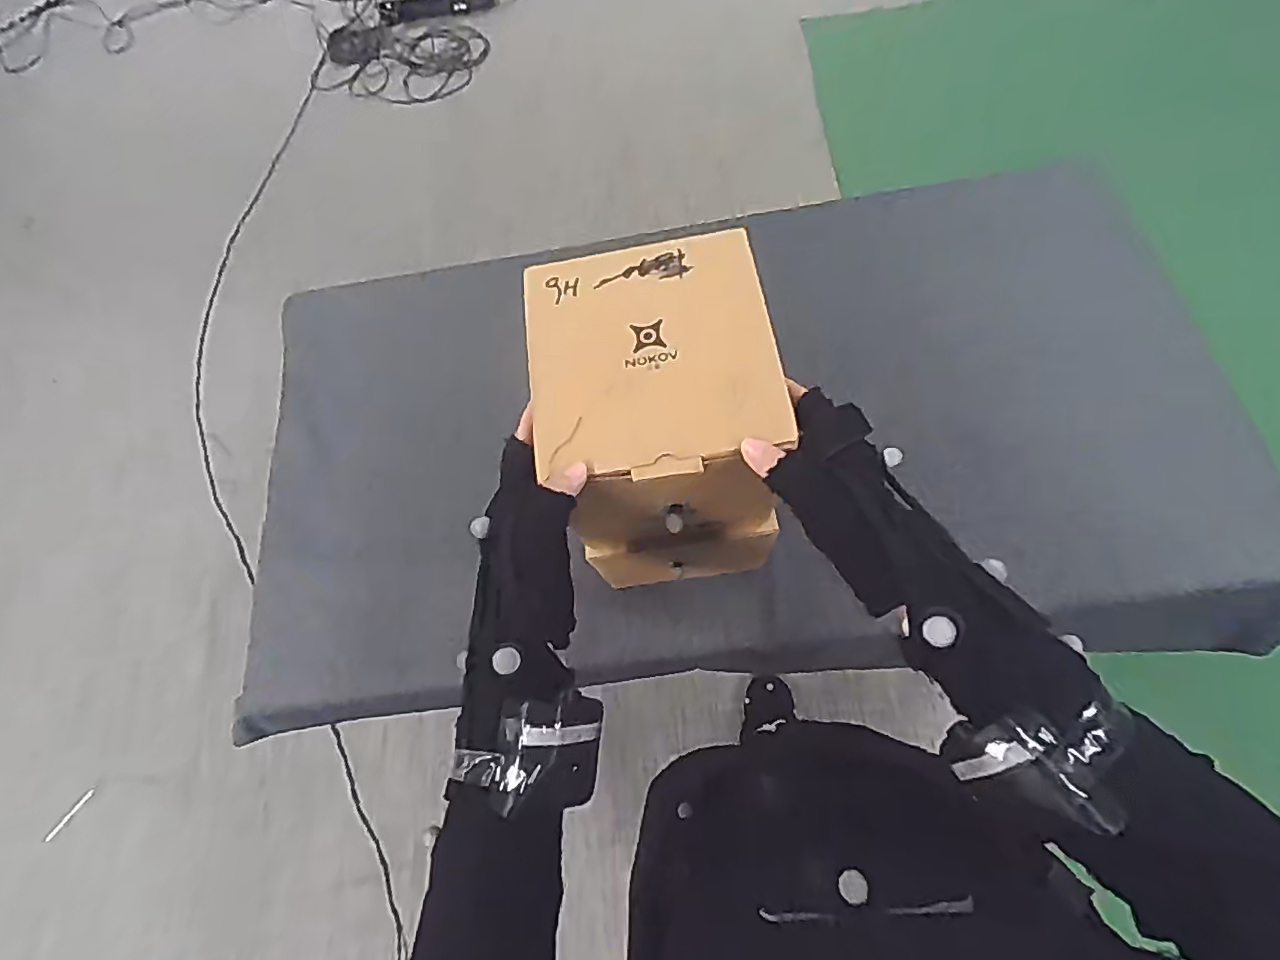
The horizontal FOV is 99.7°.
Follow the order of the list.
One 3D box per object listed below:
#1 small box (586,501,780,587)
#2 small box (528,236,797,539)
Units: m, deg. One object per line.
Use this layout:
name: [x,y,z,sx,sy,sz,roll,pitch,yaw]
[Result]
small box: [0.038,0.013,0.585,0.179,0.176,0.168,-9,69,4]
small box: [0.017,-0.056,0.438,0.168,0.176,0.179,-9,70,3]
